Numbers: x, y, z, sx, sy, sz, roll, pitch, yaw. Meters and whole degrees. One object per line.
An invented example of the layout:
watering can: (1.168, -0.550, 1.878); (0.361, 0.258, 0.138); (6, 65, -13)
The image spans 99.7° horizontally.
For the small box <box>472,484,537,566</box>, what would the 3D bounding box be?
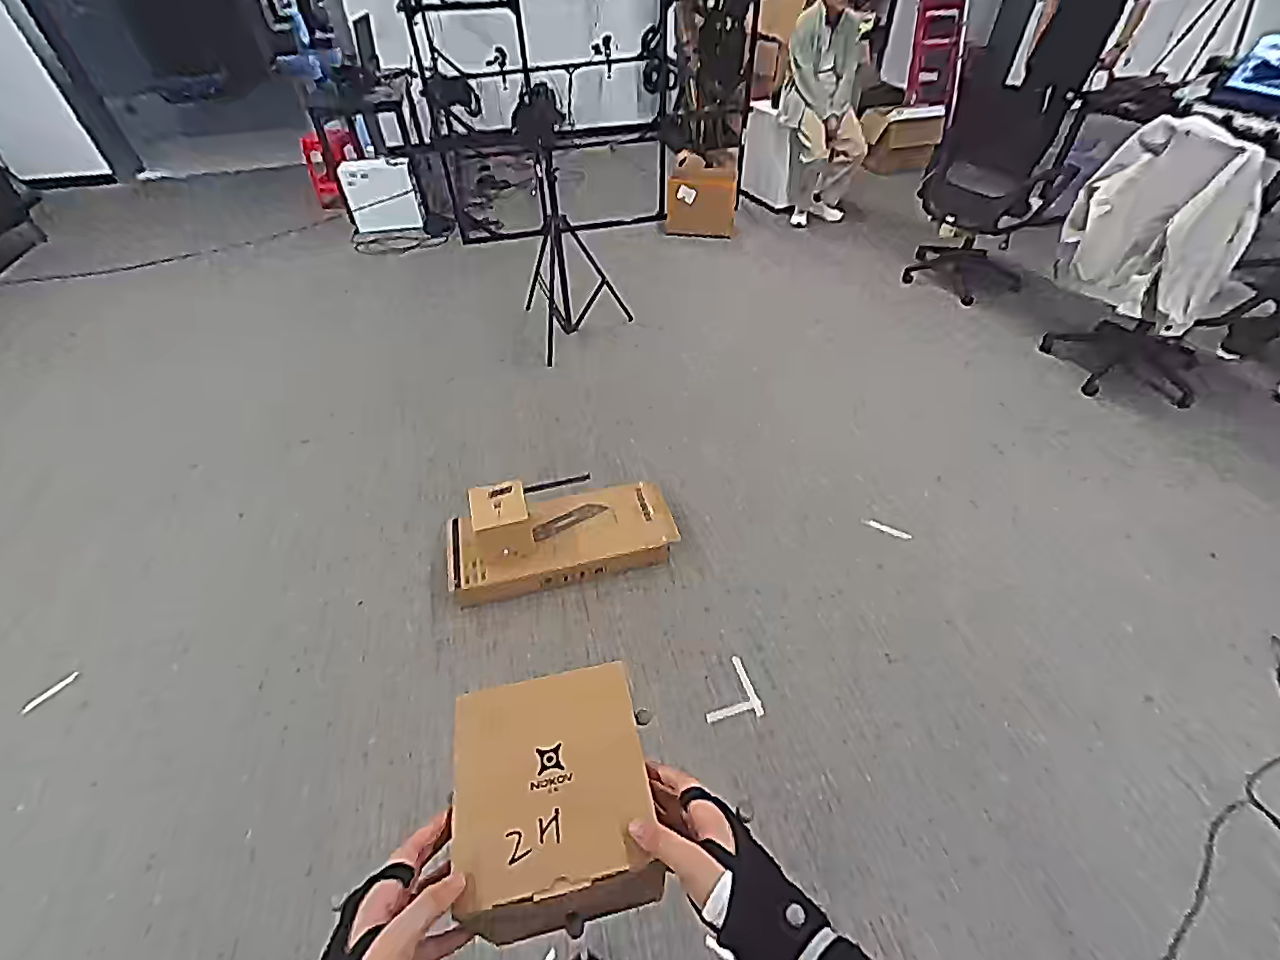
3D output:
small box: (-0.429, 0.142, 1.712); (0.168, 0.176, 0.179); (-12, 47, -11)

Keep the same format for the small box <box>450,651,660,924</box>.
small box: (-0.081, 0.301, 0.534); (0.168, 0.176, 0.179); (-10, 46, -8)
